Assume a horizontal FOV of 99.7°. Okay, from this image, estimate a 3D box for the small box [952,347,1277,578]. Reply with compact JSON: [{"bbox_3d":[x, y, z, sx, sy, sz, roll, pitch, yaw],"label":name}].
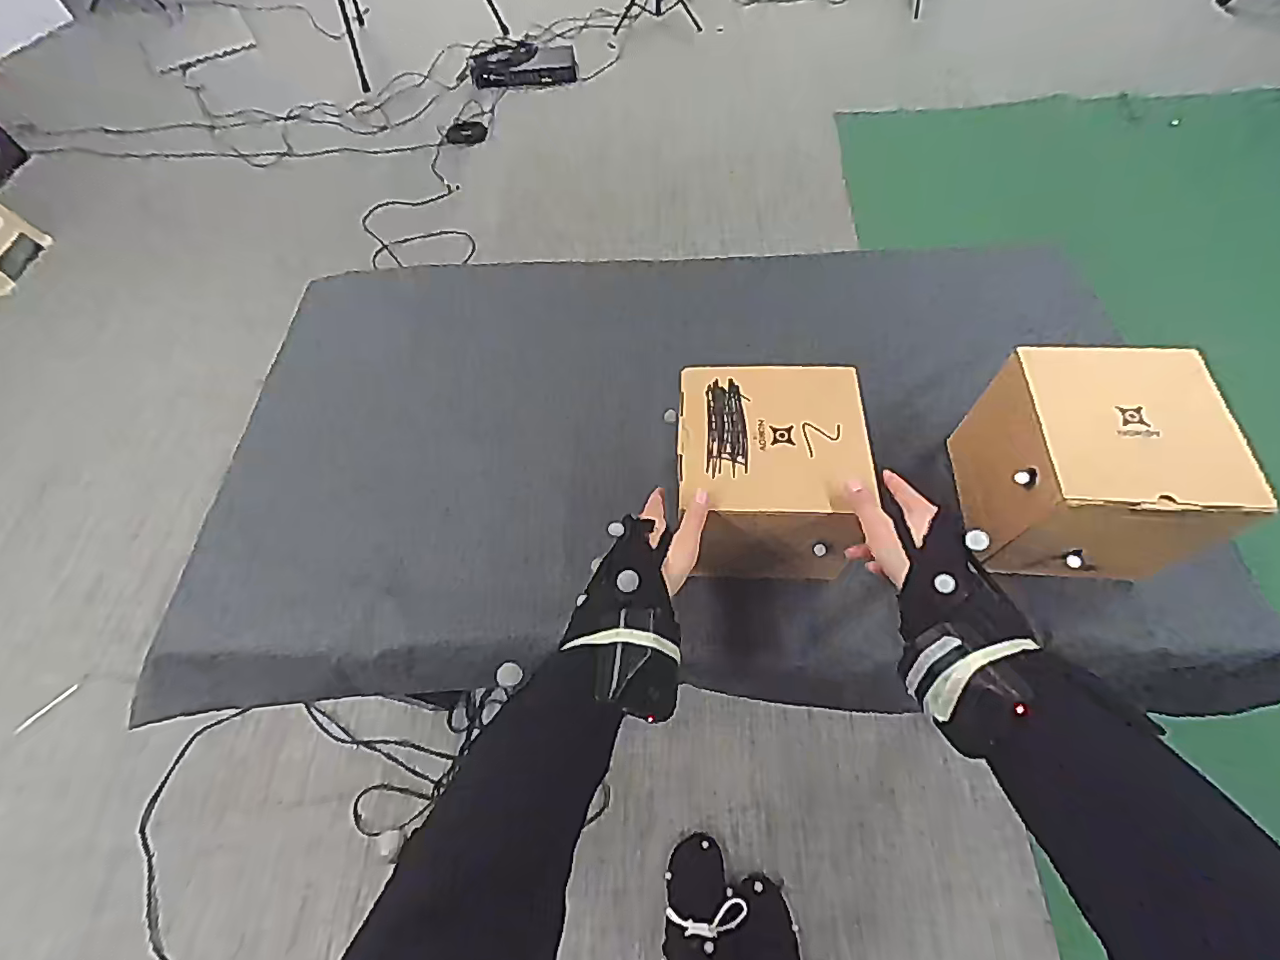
[{"bbox_3d":[0.451,-0.014,0.558,0.168,0.176,0.179,2,61,6],"label":"small box"}]
